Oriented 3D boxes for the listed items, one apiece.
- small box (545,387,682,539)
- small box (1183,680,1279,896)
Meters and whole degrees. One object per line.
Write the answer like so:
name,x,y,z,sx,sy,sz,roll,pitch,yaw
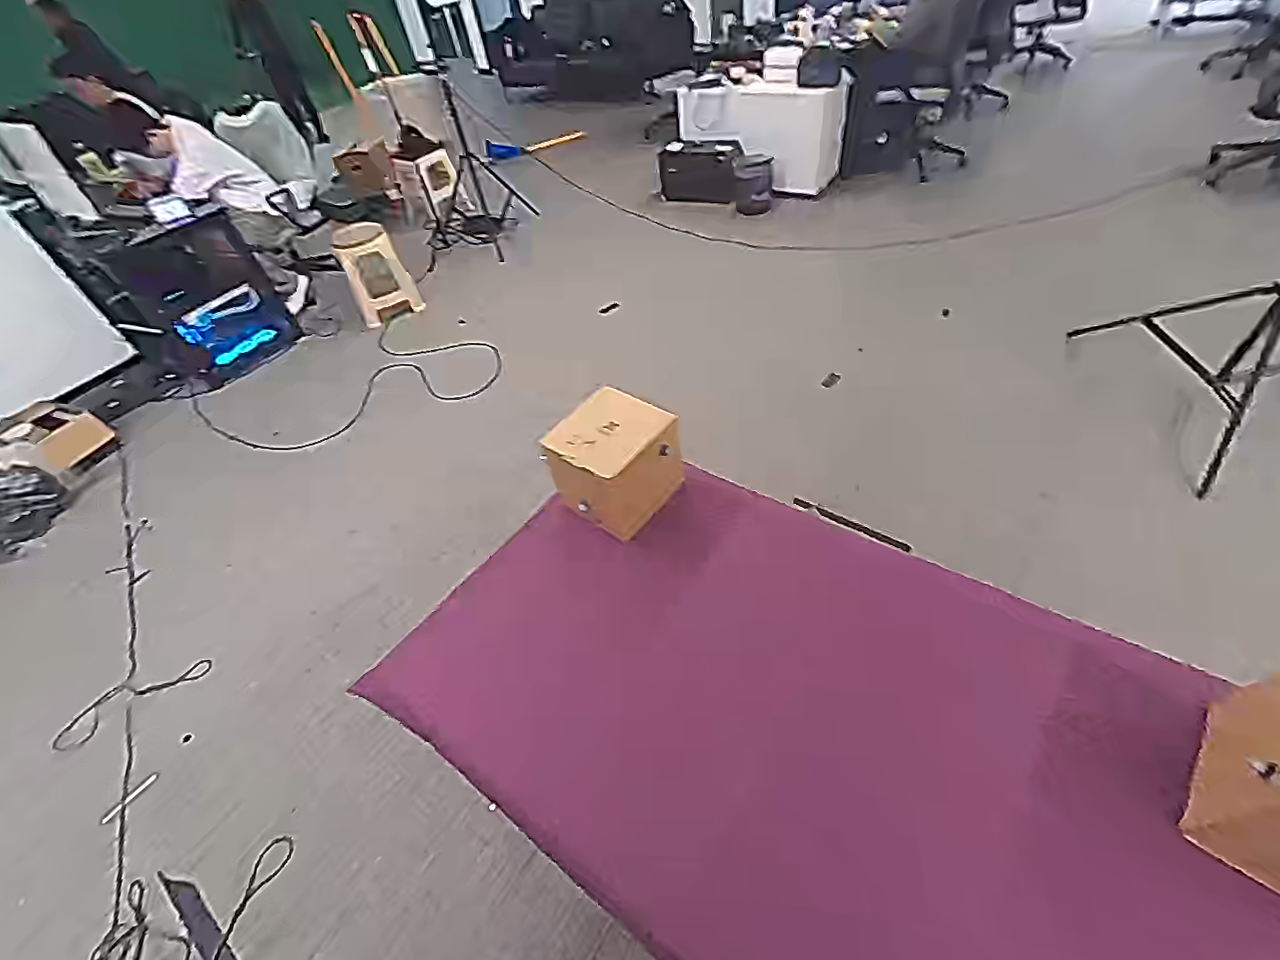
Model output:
small box,-0.037,-0.030,0.966,0.168,0.176,0.179,28,59,31
small box,0.687,0.313,0.524,0.168,0.176,0.179,29,62,31
